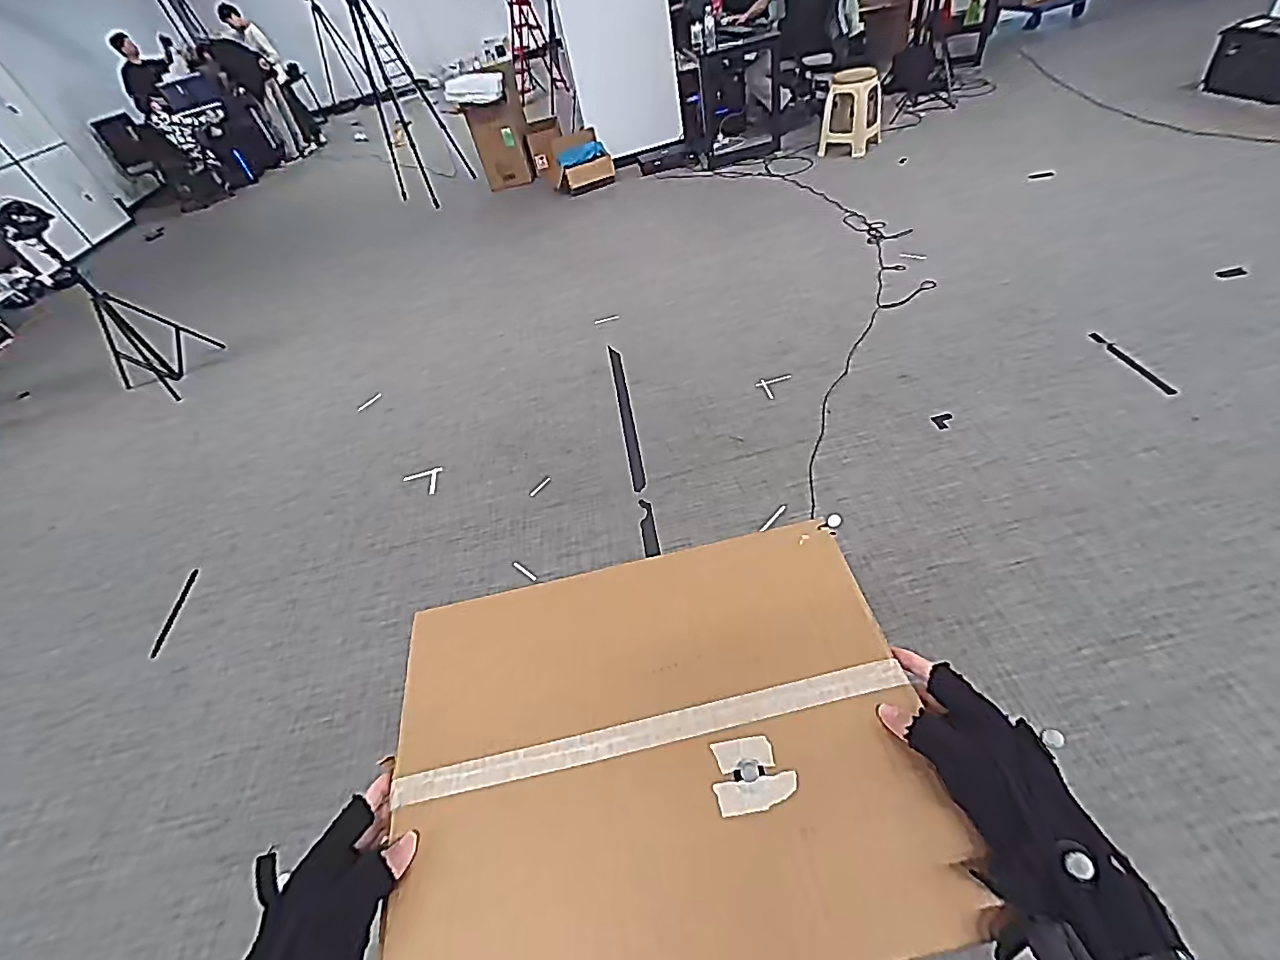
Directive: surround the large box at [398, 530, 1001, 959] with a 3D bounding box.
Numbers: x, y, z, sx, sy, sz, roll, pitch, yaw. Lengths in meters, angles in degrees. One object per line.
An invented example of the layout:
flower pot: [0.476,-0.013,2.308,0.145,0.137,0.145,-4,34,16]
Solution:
large box: [0.031,0.302,0.545,0.408,0.320,0.320,-13,49,0]
